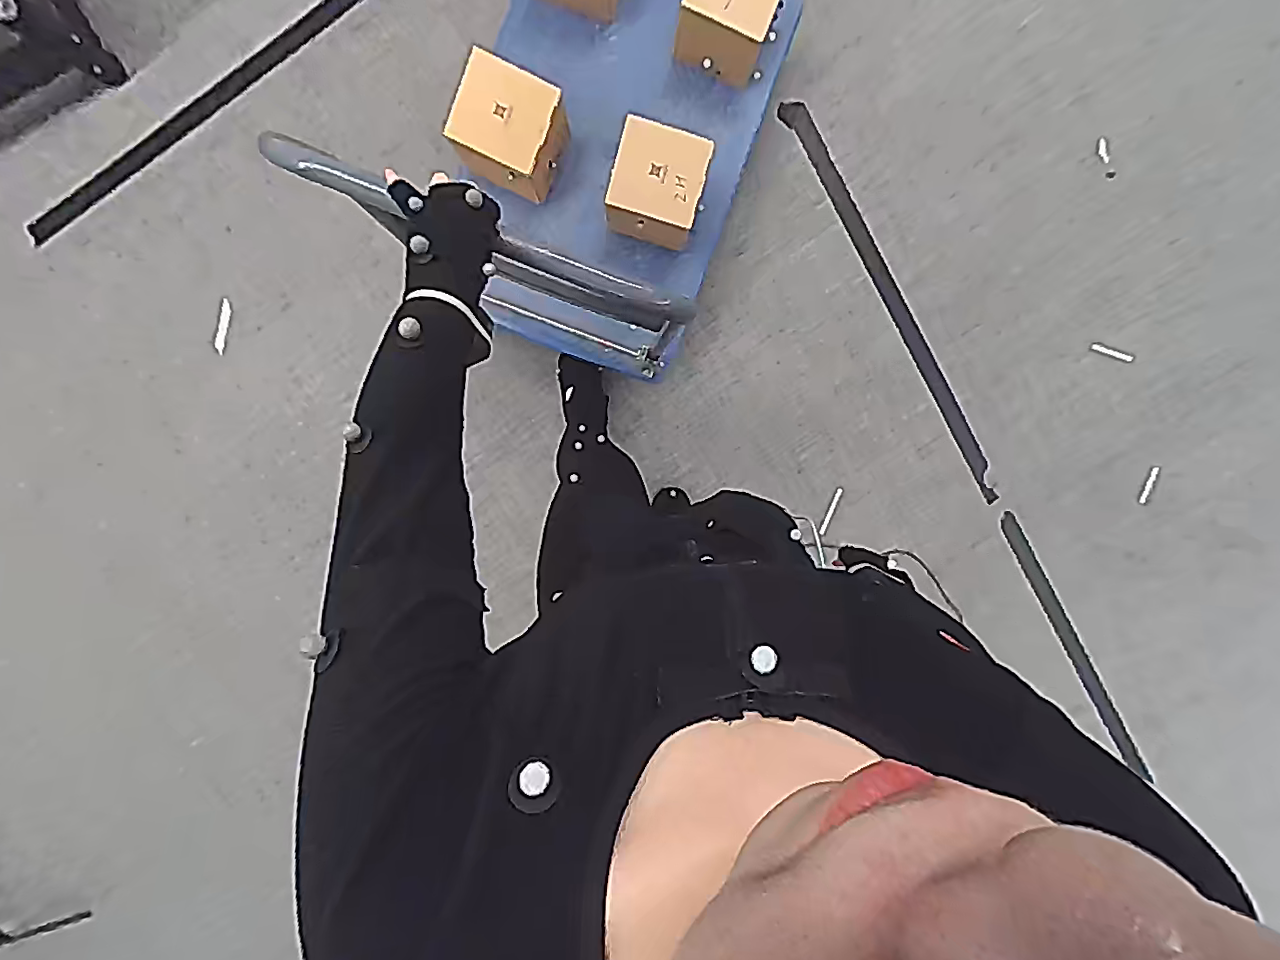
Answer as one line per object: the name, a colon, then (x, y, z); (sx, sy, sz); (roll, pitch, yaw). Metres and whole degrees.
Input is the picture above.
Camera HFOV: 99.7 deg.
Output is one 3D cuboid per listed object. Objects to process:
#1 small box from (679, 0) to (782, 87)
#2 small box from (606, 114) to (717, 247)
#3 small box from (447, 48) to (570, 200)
small box: (0.183, -0.925, 1.050); (0.168, 0.176, 0.179); (22, 100, -5)
small box: (0.039, -0.595, 1.102); (0.179, 0.176, 0.168); (16, 99, -4)
small box: (-0.253, -0.693, 1.079); (0.179, 0.176, 0.168); (23, 98, -7)
